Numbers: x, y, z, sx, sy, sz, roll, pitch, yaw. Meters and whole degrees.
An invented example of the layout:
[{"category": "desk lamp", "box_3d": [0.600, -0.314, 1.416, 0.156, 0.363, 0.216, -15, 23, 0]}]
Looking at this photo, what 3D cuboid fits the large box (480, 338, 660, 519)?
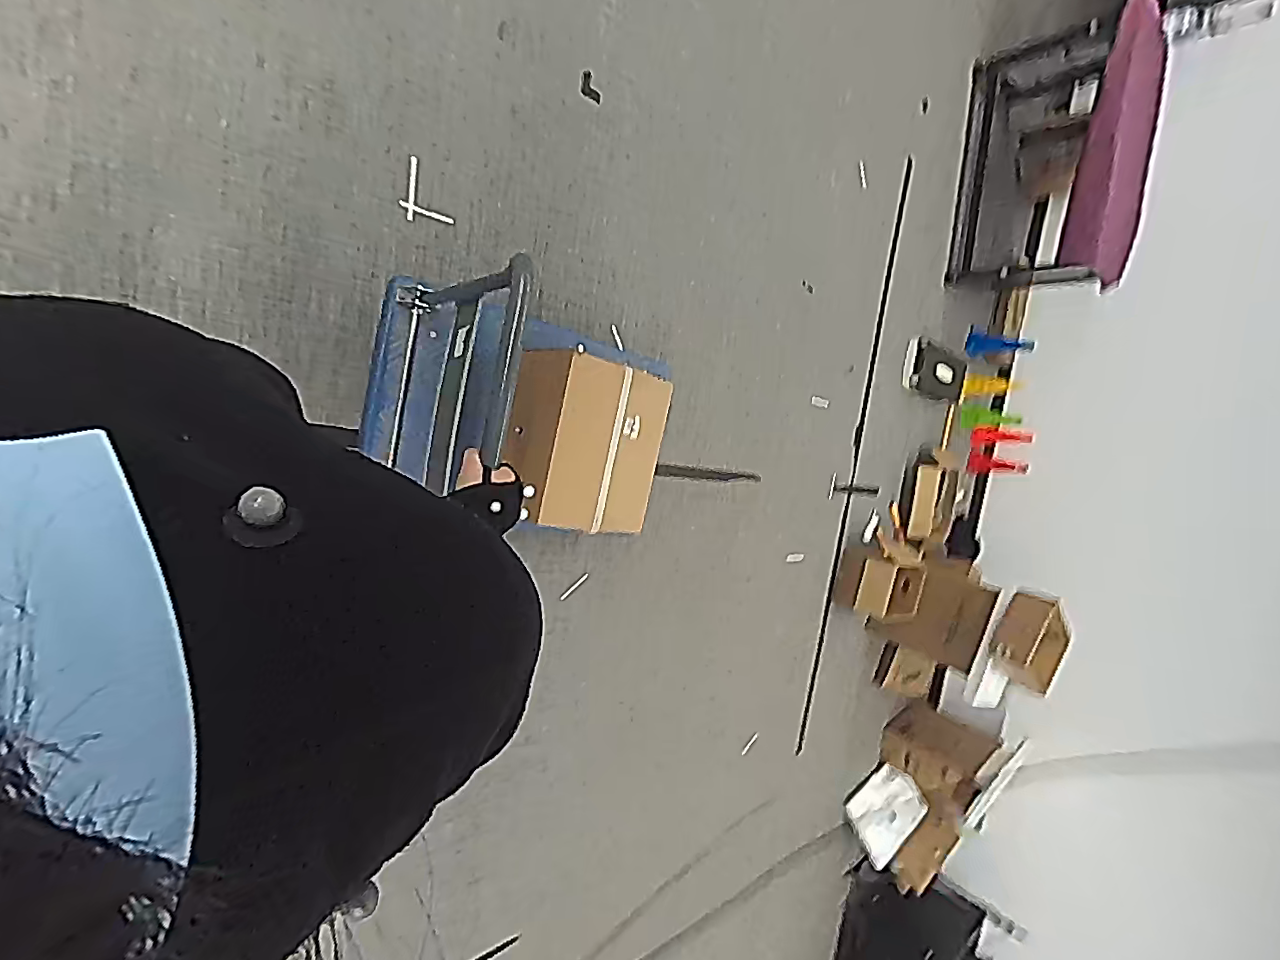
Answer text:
[{"category": "large box", "box_3d": [-0.191, -0.129, 1.420, 0.320, 0.320, 0.408, 9, 94, -42]}]
